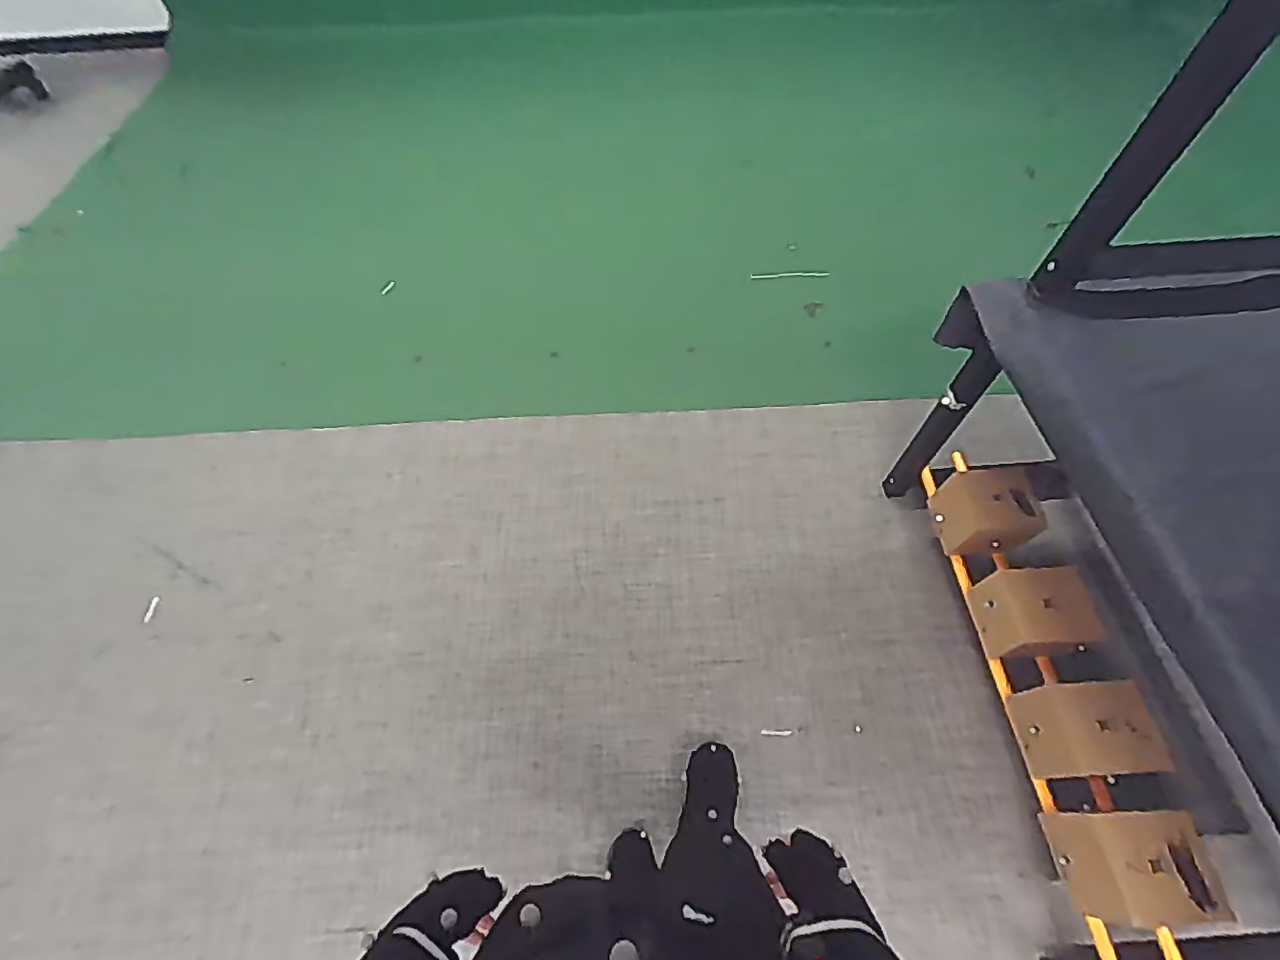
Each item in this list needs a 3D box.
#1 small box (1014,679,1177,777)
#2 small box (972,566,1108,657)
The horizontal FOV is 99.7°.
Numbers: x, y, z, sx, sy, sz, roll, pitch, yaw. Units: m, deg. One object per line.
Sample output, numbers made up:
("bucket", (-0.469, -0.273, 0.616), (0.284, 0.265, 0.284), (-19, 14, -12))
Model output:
("small box", (0.920, 0.517, 1.121), (0.179, 0.176, 0.168), (-4, 60, 0))
("small box", (0.903, 0.308, 1.249), (0.179, 0.176, 0.168), (-3, 60, 1))
